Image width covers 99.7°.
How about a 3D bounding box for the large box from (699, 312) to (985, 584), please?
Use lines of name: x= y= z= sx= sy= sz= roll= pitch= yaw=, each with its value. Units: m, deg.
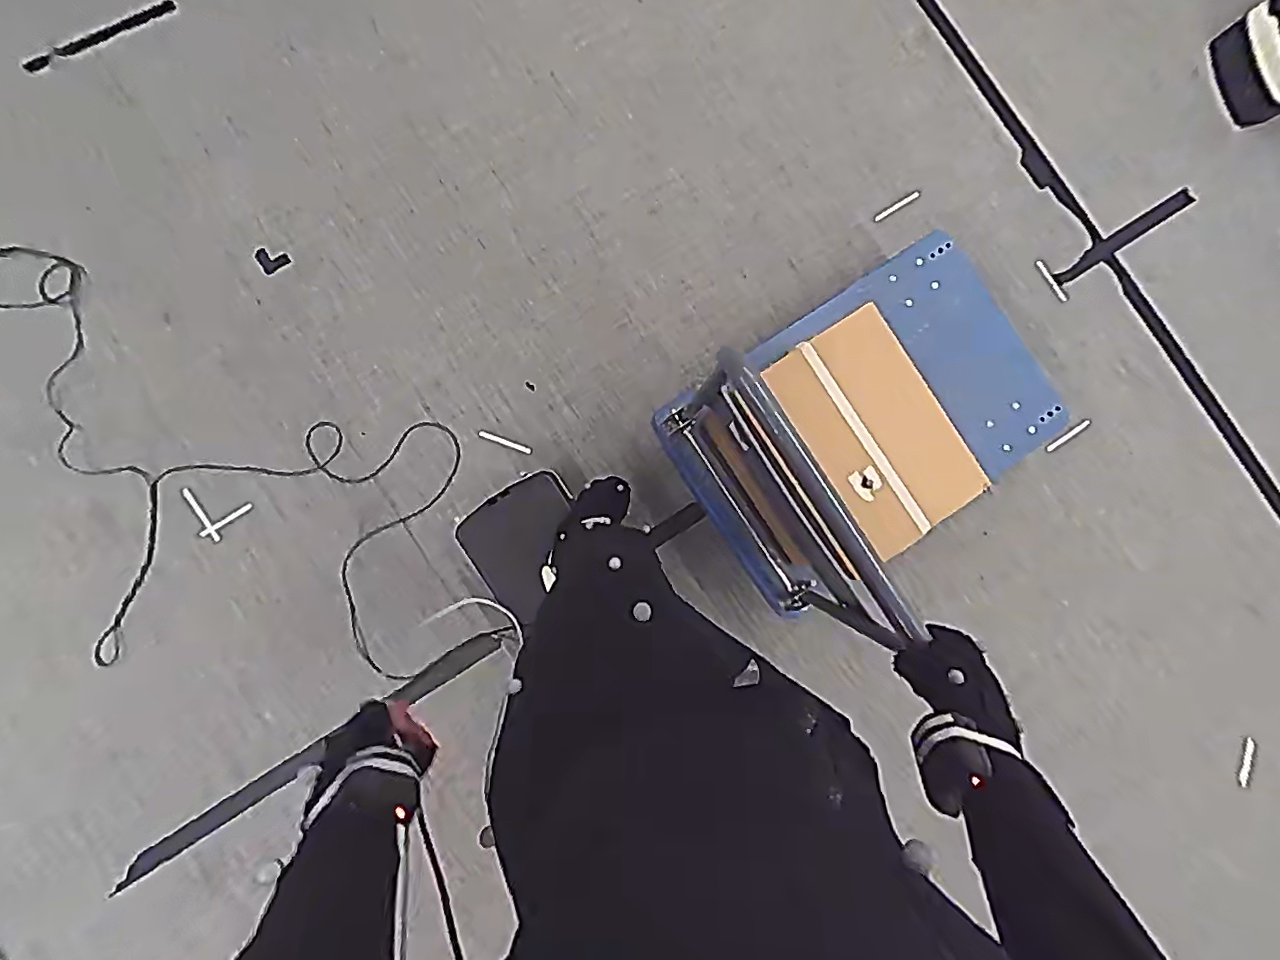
large box: x=0.379 y=-0.054 z=1.110 sx=0.320 sy=0.320 sz=0.408 roll=-33 pitch=90 yaw=-5
